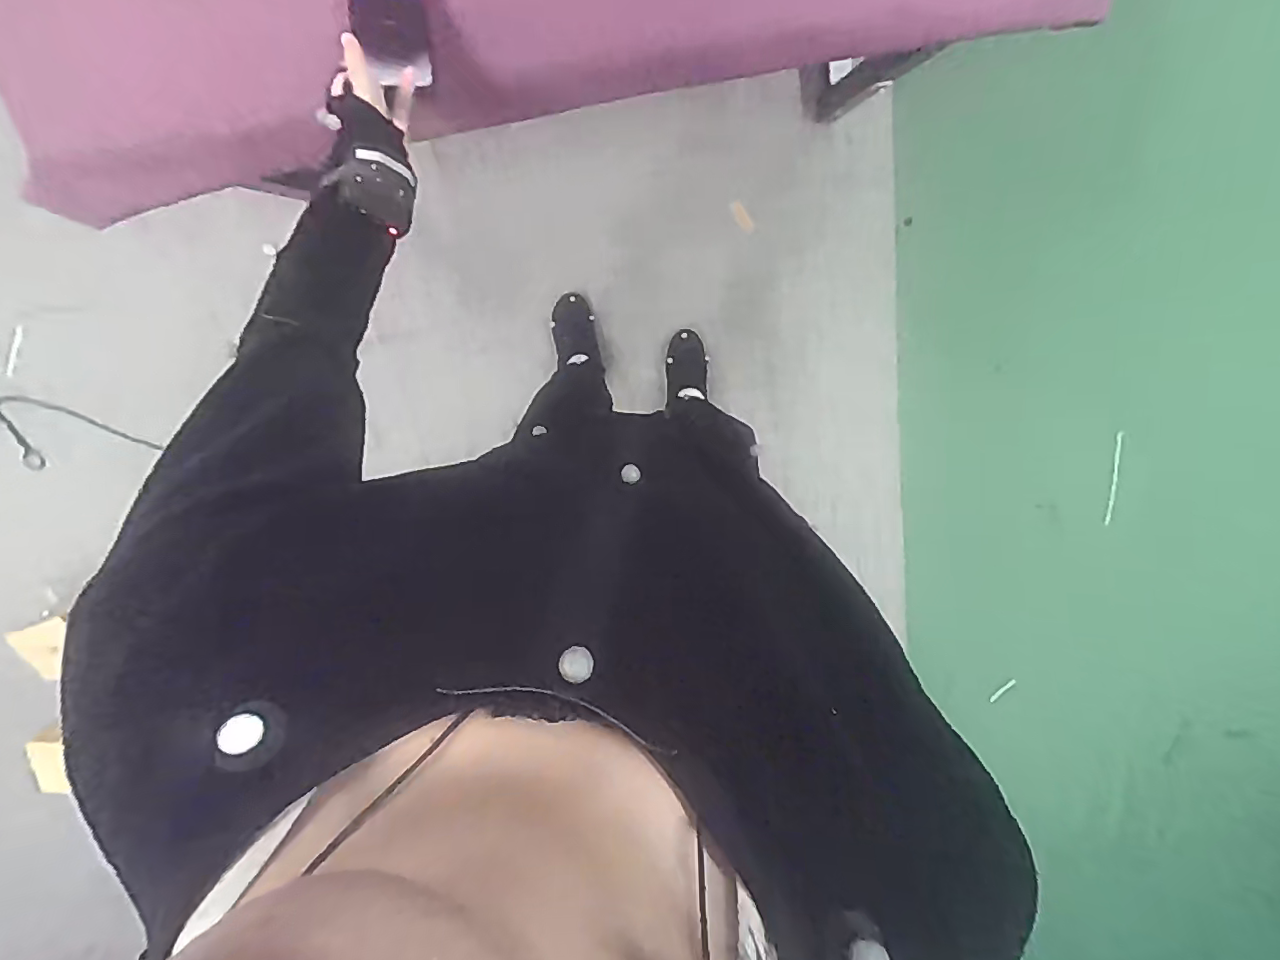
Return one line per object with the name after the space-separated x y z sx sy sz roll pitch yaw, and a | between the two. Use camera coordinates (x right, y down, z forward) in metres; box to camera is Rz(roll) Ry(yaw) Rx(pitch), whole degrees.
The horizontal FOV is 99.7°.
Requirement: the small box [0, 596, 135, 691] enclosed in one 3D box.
-1.595 0.453 1.526 0.179 0.176 0.168 -19 111 3 | small box
